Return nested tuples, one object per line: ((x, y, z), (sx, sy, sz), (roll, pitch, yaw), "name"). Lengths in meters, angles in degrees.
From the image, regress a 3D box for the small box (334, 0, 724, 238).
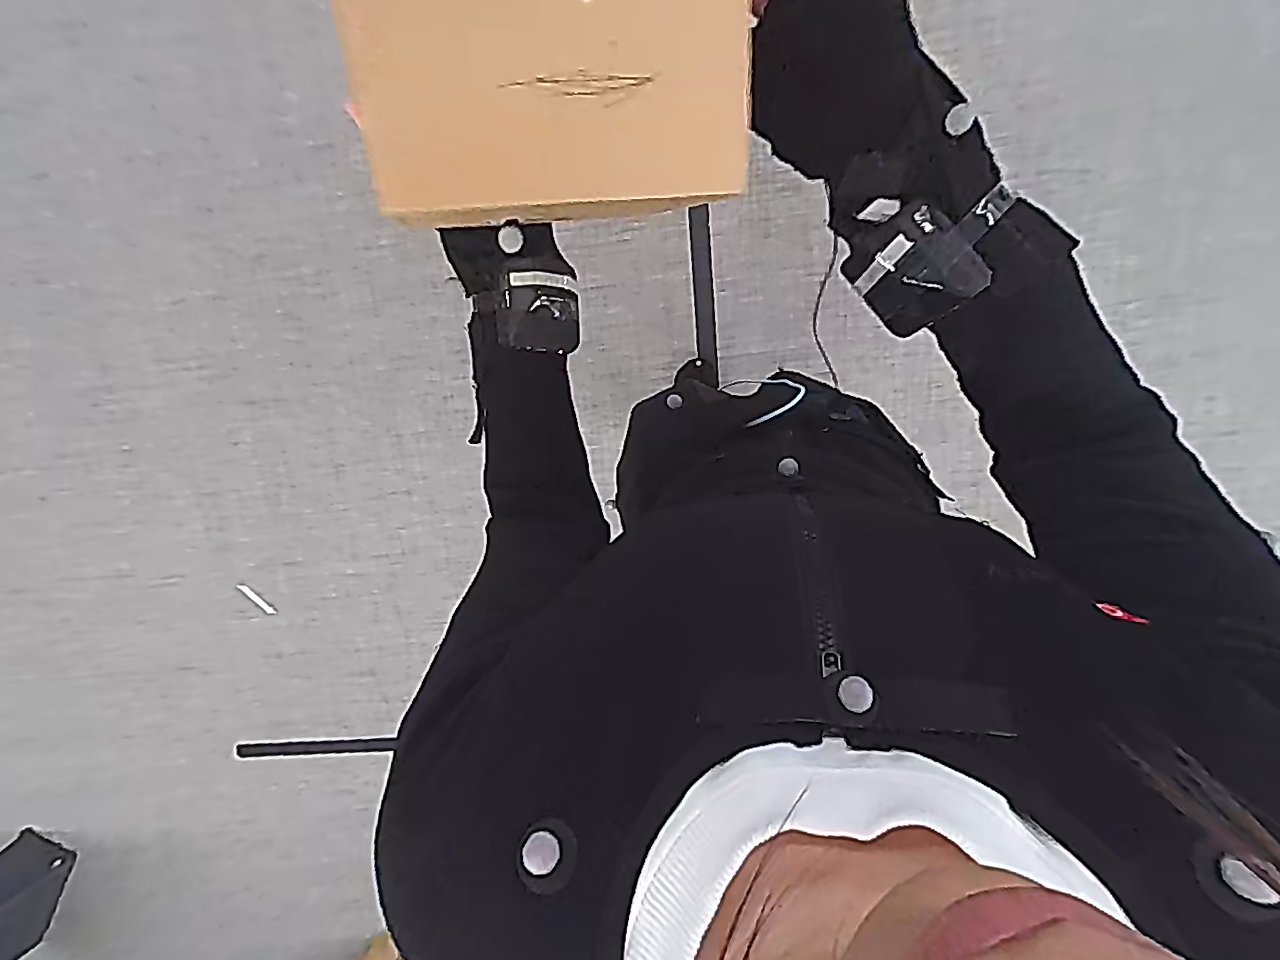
((-0.066, -0.236, 0.292), (0.168, 0.176, 0.179), (-11, 113, -14), "small box")
